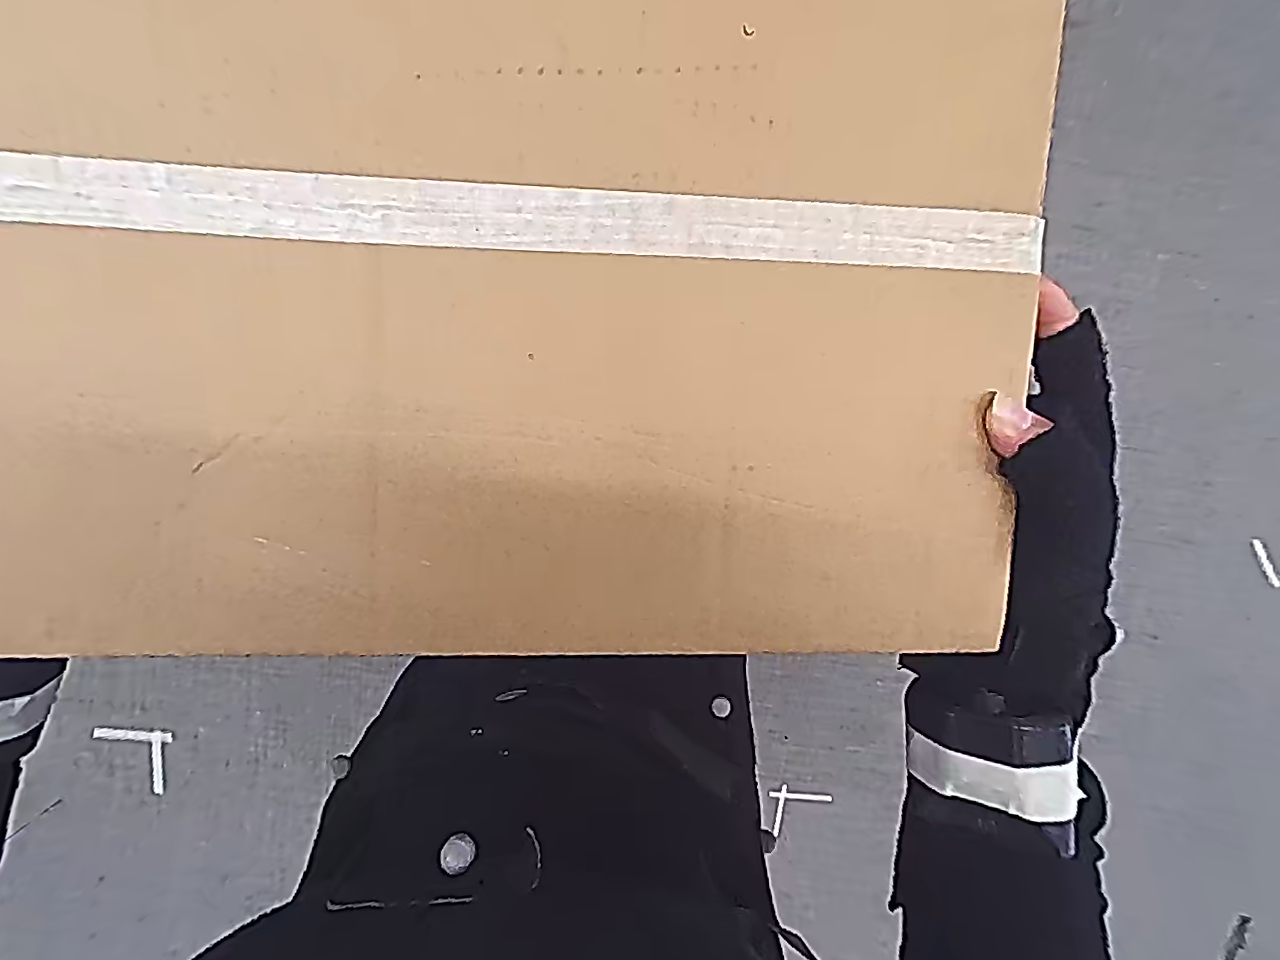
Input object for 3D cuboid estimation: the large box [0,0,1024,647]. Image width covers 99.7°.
[{"bbox_3d":[-0.065,-0.105,0.348,0.408,0.320,0.320,1,95,-5],"label":"large box"}]
